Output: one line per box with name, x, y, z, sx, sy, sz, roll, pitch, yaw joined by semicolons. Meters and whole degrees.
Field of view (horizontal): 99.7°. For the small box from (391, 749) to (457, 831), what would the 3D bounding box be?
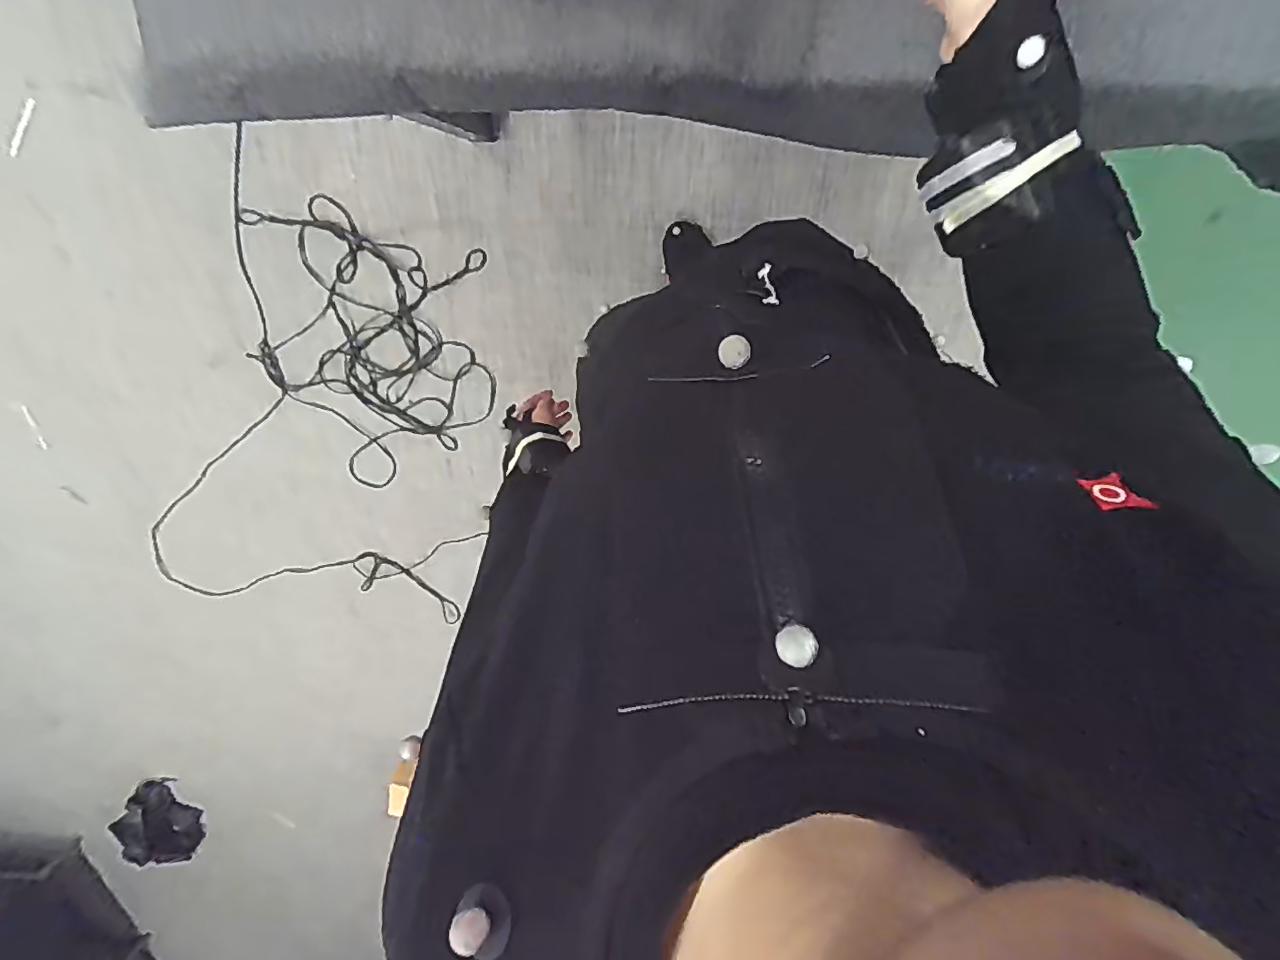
small box;-0.760;1.092;1.909;0.168;0.176;0.179;13;116;-2
